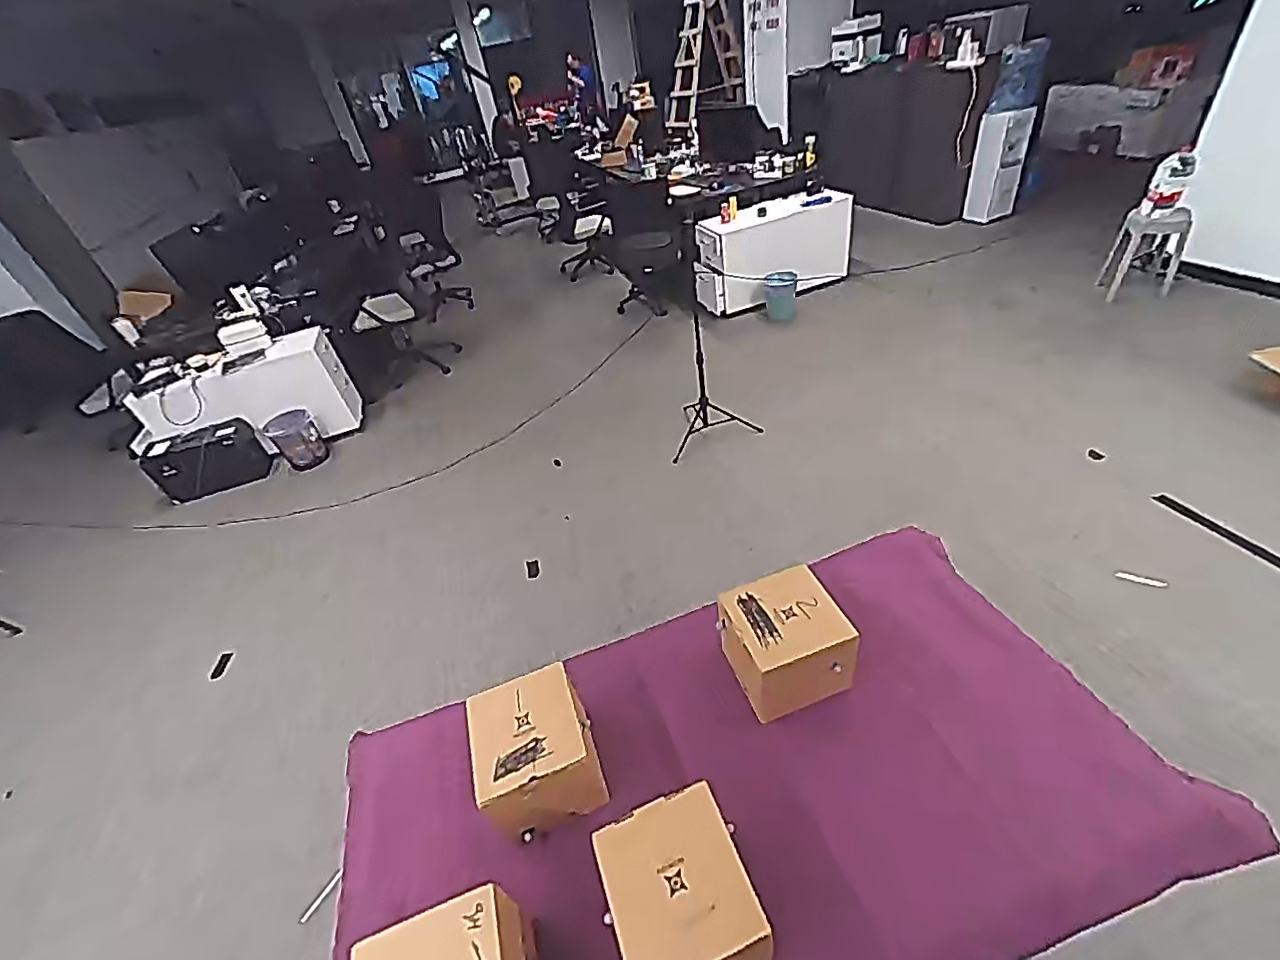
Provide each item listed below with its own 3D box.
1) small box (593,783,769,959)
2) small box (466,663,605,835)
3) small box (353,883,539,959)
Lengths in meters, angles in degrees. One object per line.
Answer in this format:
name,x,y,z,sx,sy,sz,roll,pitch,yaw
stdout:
small box,0.052,0.541,0.700,0.168,0.176,0.179,-20,41,-9
small box,-0.167,0.441,0.878,0.168,0.176,0.179,-19,39,-10
small box,-0.224,0.636,0.650,0.179,0.176,0.168,-19,40,-9
